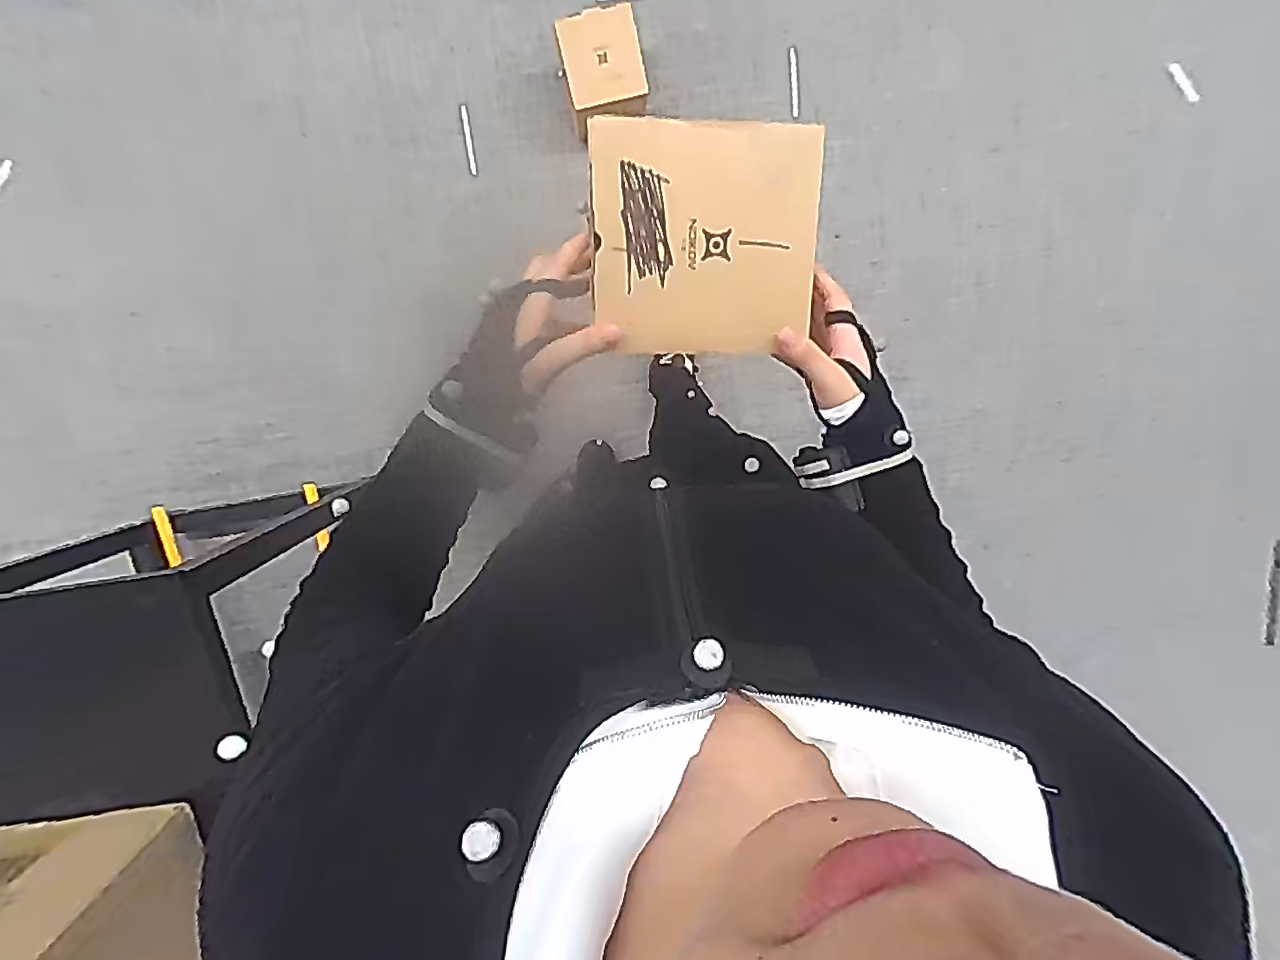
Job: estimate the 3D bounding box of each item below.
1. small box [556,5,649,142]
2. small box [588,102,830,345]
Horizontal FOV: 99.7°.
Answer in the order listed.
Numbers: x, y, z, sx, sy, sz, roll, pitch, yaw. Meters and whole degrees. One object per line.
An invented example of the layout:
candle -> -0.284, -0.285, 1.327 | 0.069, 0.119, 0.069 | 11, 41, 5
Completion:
small box -> -0.084, -0.898, 1.211 | 0.168, 0.176, 0.179 | -15, 103, 0
small box -> 0.044, -0.206, 0.480 | 0.179, 0.176, 0.168 | -1, 106, -5
